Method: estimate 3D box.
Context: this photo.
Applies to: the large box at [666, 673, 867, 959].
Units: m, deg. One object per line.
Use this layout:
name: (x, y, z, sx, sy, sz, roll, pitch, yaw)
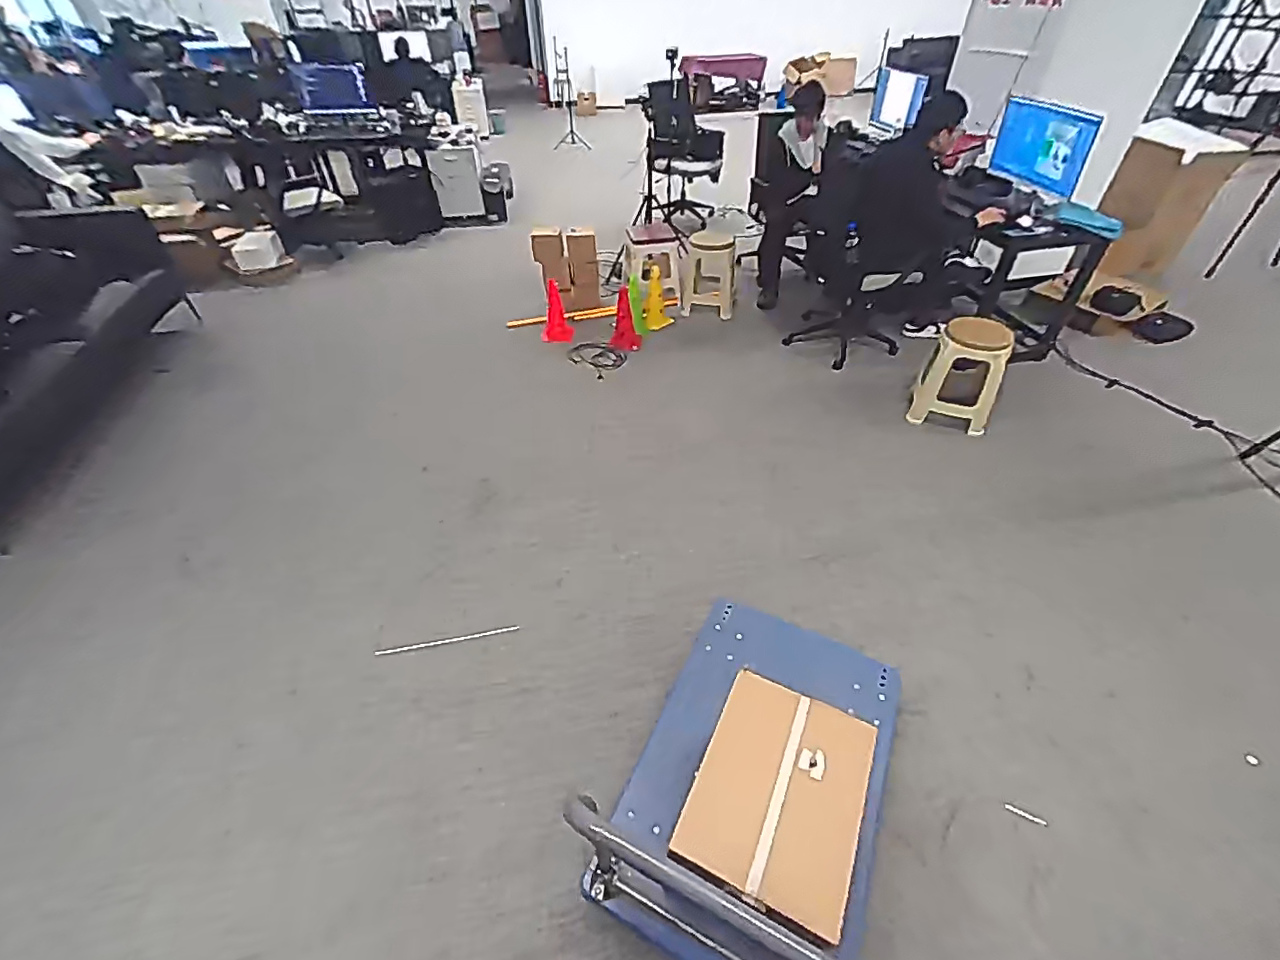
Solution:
large box: (0.272, 0.729, 1.191, 0.320, 0.320, 0.408, 19, 45, 19)
